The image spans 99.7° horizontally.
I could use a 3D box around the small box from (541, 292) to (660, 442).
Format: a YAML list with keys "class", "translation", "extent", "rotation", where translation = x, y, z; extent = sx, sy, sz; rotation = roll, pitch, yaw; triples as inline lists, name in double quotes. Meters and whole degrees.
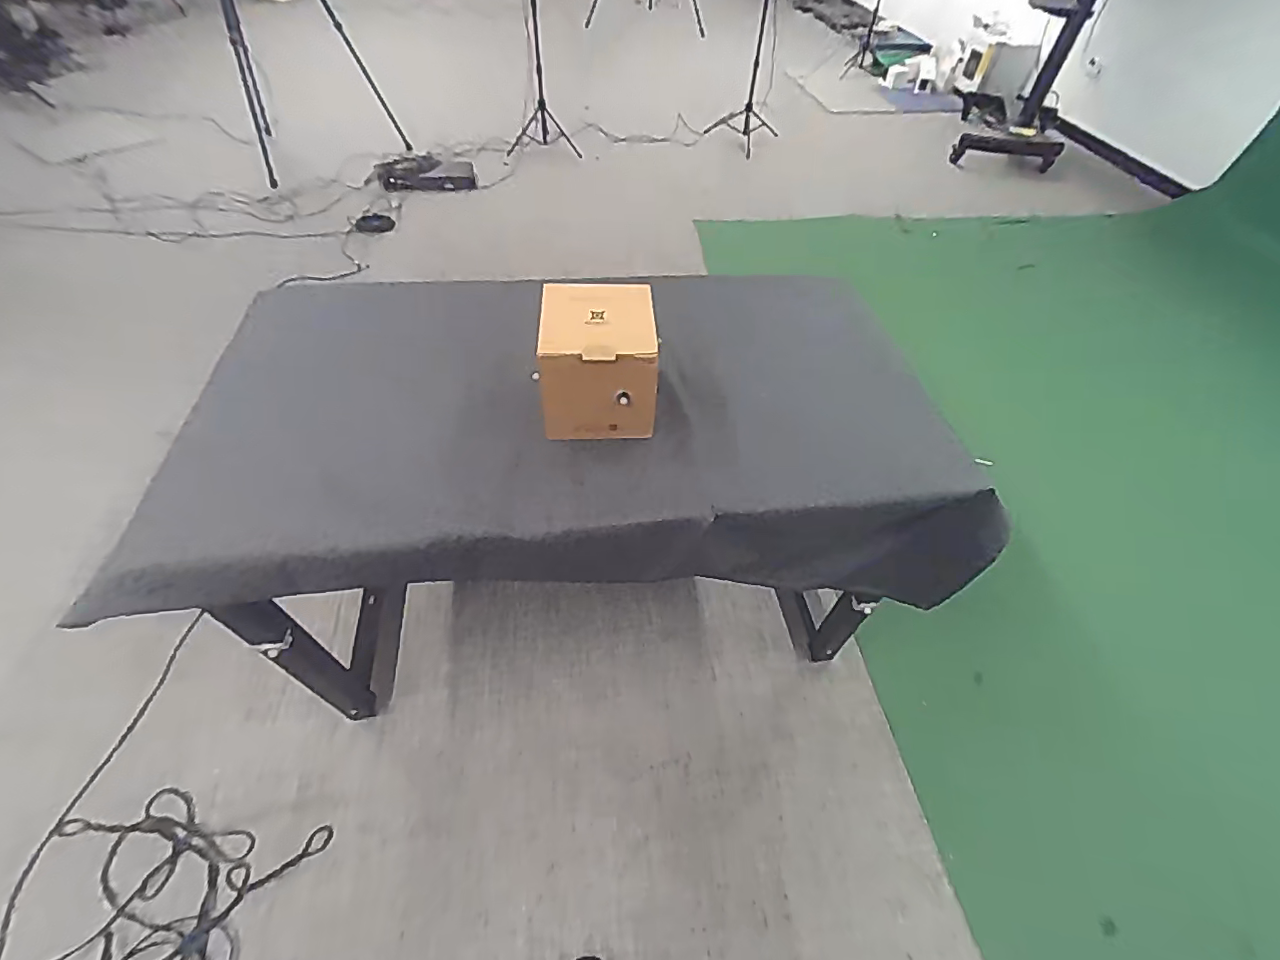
- class: "small box"
  translation: [-0.060, -0.172, 0.842]
  extent: [0.168, 0.176, 0.179]
  rotation: [-1, 49, -5]
